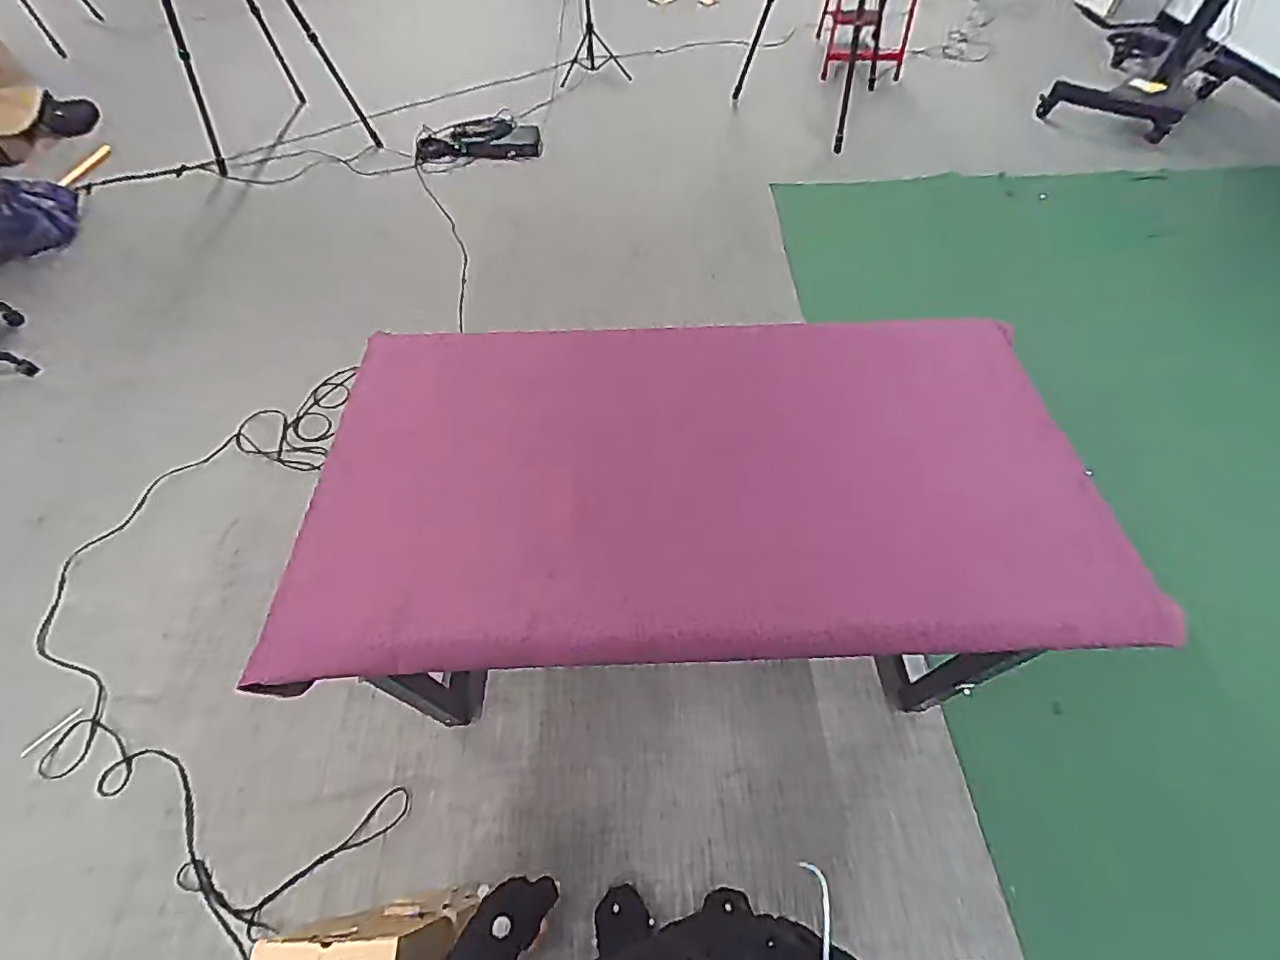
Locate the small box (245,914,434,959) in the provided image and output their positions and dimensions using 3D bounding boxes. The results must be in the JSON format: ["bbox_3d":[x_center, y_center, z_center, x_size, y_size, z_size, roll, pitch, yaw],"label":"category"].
[{"bbox_3d":[-0.358,0.631,0.634,0.168,0.176,0.179,-1,59,1],"label":"small box"}]
